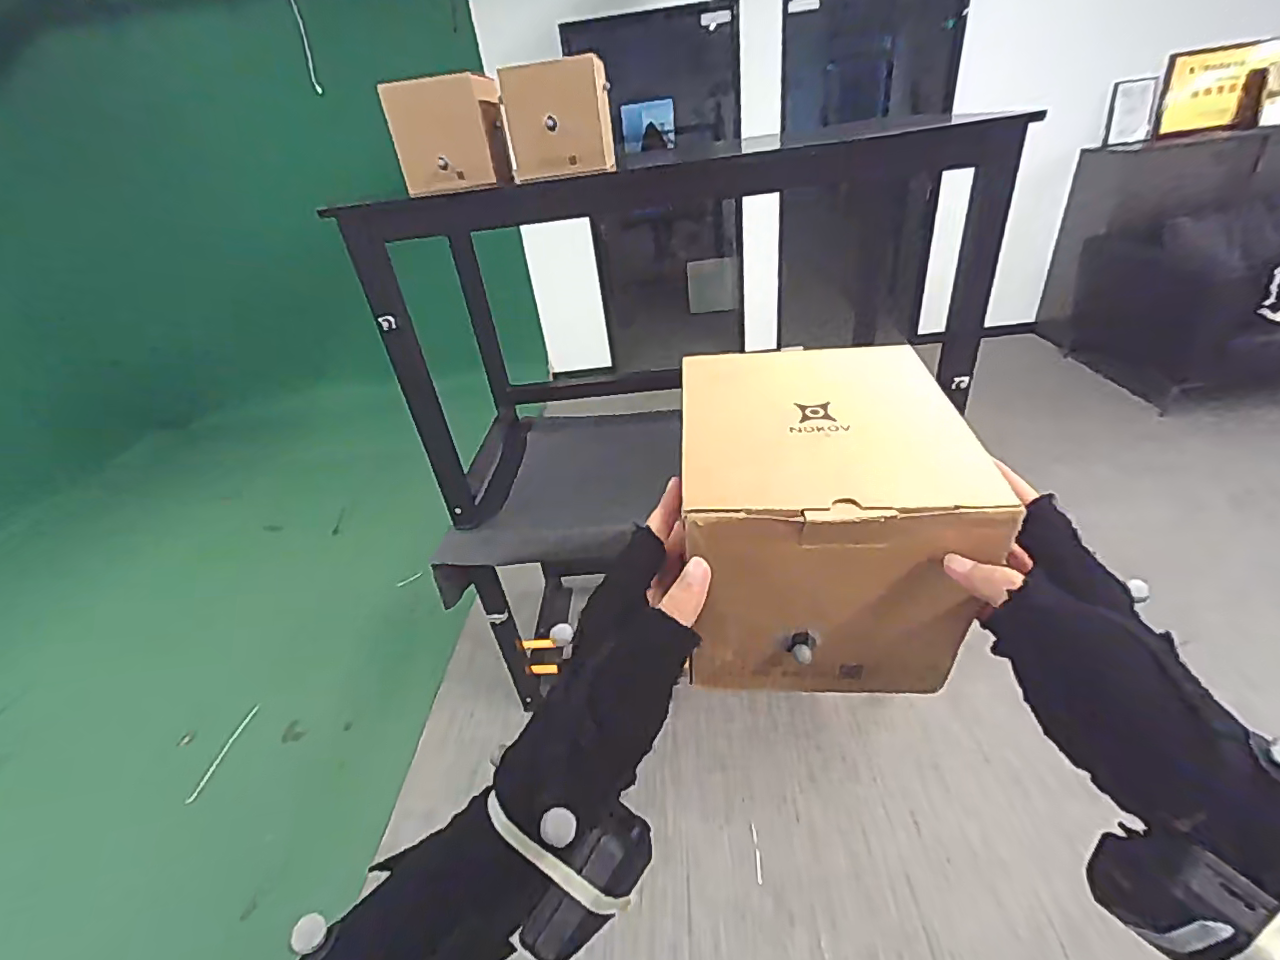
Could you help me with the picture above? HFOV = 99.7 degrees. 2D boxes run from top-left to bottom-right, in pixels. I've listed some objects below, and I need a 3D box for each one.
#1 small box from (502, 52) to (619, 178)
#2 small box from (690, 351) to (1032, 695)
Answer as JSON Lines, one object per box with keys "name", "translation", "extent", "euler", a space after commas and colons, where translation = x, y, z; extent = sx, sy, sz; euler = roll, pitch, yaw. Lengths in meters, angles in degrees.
{"name": "small box", "translation": [-0.134, -0.662, 0.994], "extent": [0.168, 0.176, 0.179], "euler": [-3, 33, 5]}
{"name": "small box", "translation": [0.119, 0.025, 0.380], "extent": [0.168, 0.176, 0.179], "euler": [-1, 40, 6]}
